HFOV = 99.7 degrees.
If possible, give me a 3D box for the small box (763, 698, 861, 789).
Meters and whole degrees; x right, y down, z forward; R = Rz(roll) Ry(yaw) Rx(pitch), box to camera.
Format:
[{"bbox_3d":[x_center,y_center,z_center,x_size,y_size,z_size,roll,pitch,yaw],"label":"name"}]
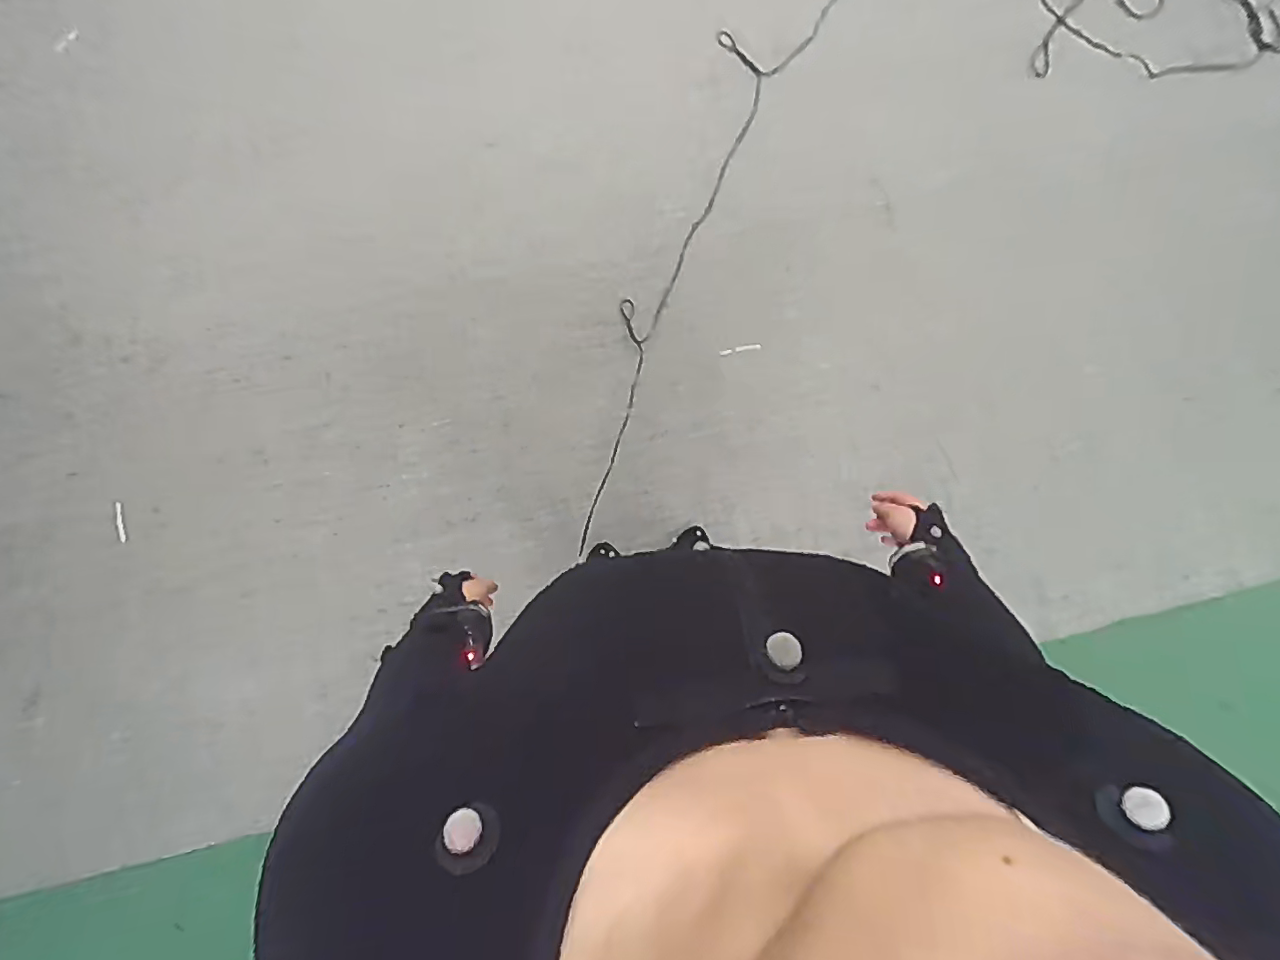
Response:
[{"bbox_3d":[0.375,0.585,1.162,0.168,0.176,0.179,-11,85,-3],"label":"small box"}]
